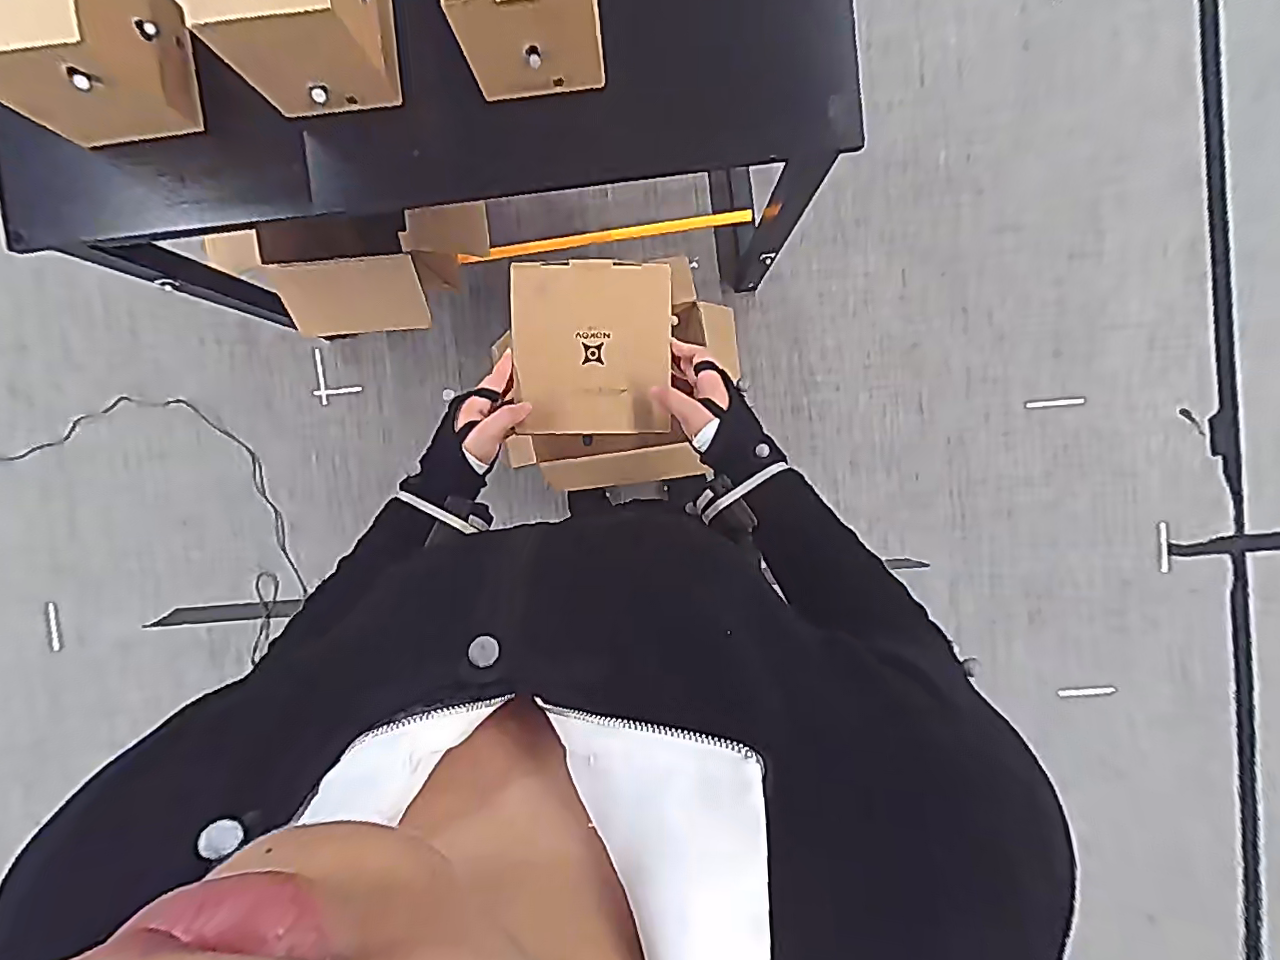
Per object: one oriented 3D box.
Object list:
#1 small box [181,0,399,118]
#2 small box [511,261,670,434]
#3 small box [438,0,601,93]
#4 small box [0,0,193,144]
[{"bbox_3d":[-0.417,-0.587,0.661,0.168,0.176,0.179,-5,93,2],"label":"small box"},{"bbox_3d":[-0.055,-0.144,0.640,0.168,0.176,0.179,-1,96,-3],"label":"small box"},{"bbox_3d":[-0.142,-0.605,0.654,0.168,0.176,0.179,-6,93,2],"label":"small box"},{"bbox_3d":[-0.700,-0.549,0.667,0.179,0.176,0.168,-7,92,1],"label":"small box"}]
